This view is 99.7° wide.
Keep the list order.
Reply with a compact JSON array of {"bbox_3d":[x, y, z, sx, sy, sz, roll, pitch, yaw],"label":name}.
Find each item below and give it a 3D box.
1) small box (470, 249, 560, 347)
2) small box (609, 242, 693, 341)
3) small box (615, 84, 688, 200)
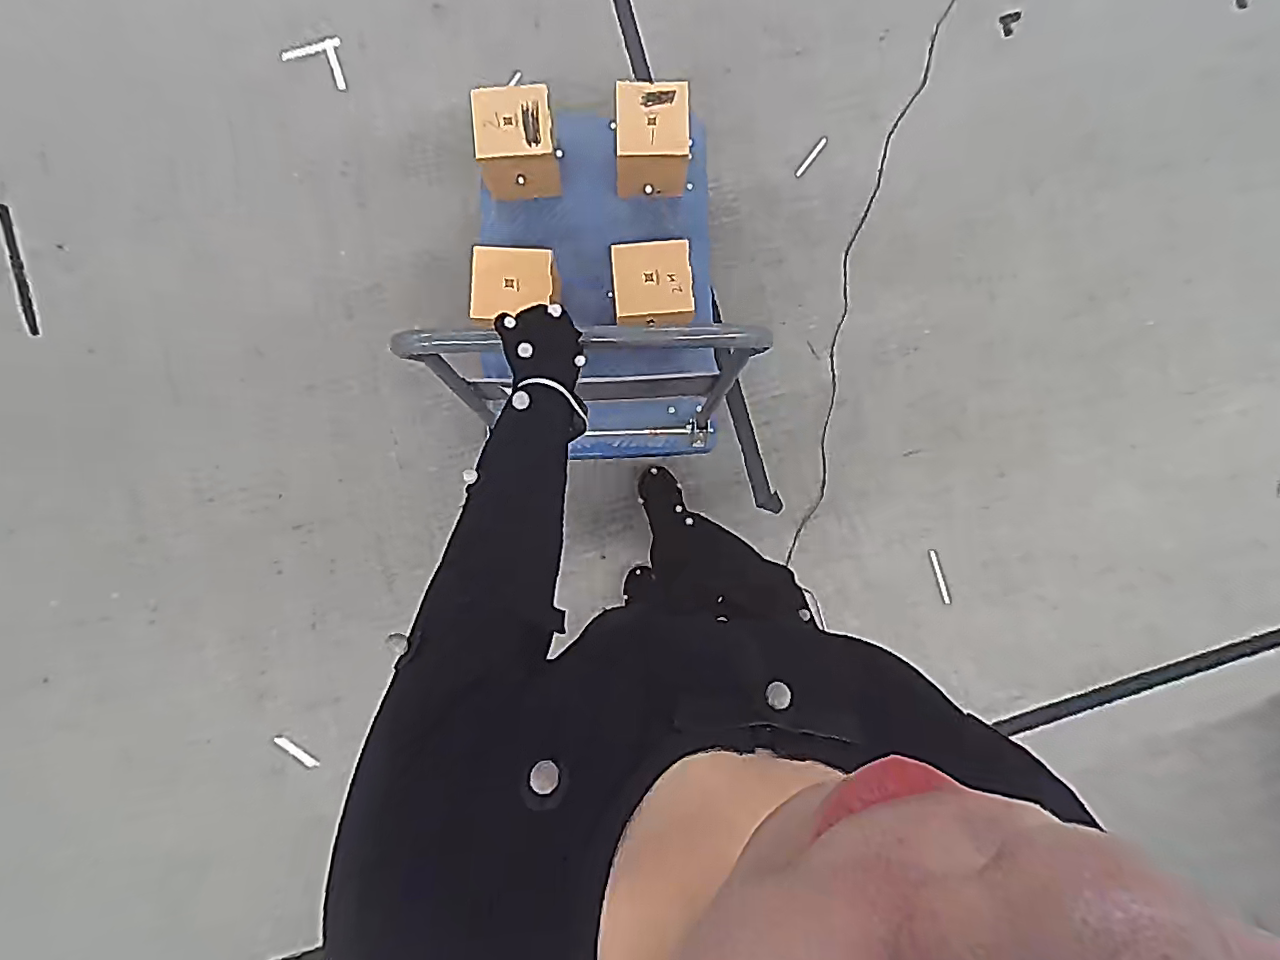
[{"bbox_3d":[-0.285,-0.419,1.265,0.179,0.176,0.168,1,85,-3],"label":"small box"},{"bbox_3d":[0.024,-0.436,1.273,0.179,0.176,0.168,-5,86,-2],"label":"small box"},{"bbox_3d":[0.022,-0.806,1.300,0.168,0.176,0.179,-1,87,-1],"label":"small box"}]
